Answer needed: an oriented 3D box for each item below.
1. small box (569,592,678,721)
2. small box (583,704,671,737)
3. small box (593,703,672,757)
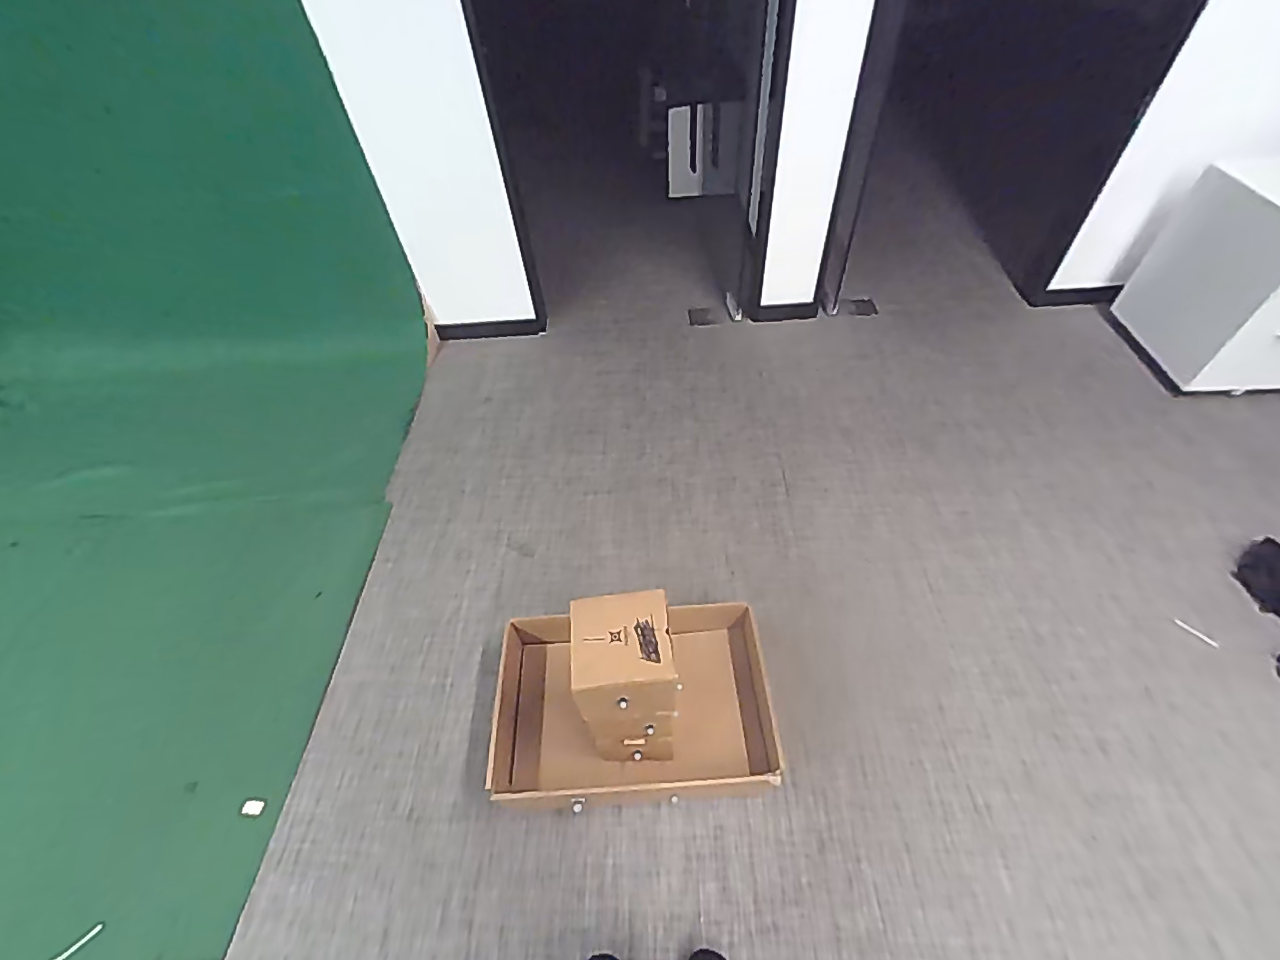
[{"bbox_3d":[-0.031,0.329,1.001,0.179,0.176,0.168,-8,50,-3],"label":"small box"},{"bbox_3d":[-0.022,0.428,1.131,0.168,0.176,0.179,-3,49,2],"label":"small box"},{"bbox_3d":[-0.012,0.533,1.254,0.168,0.176,0.179,-2,50,3],"label":"small box"}]
